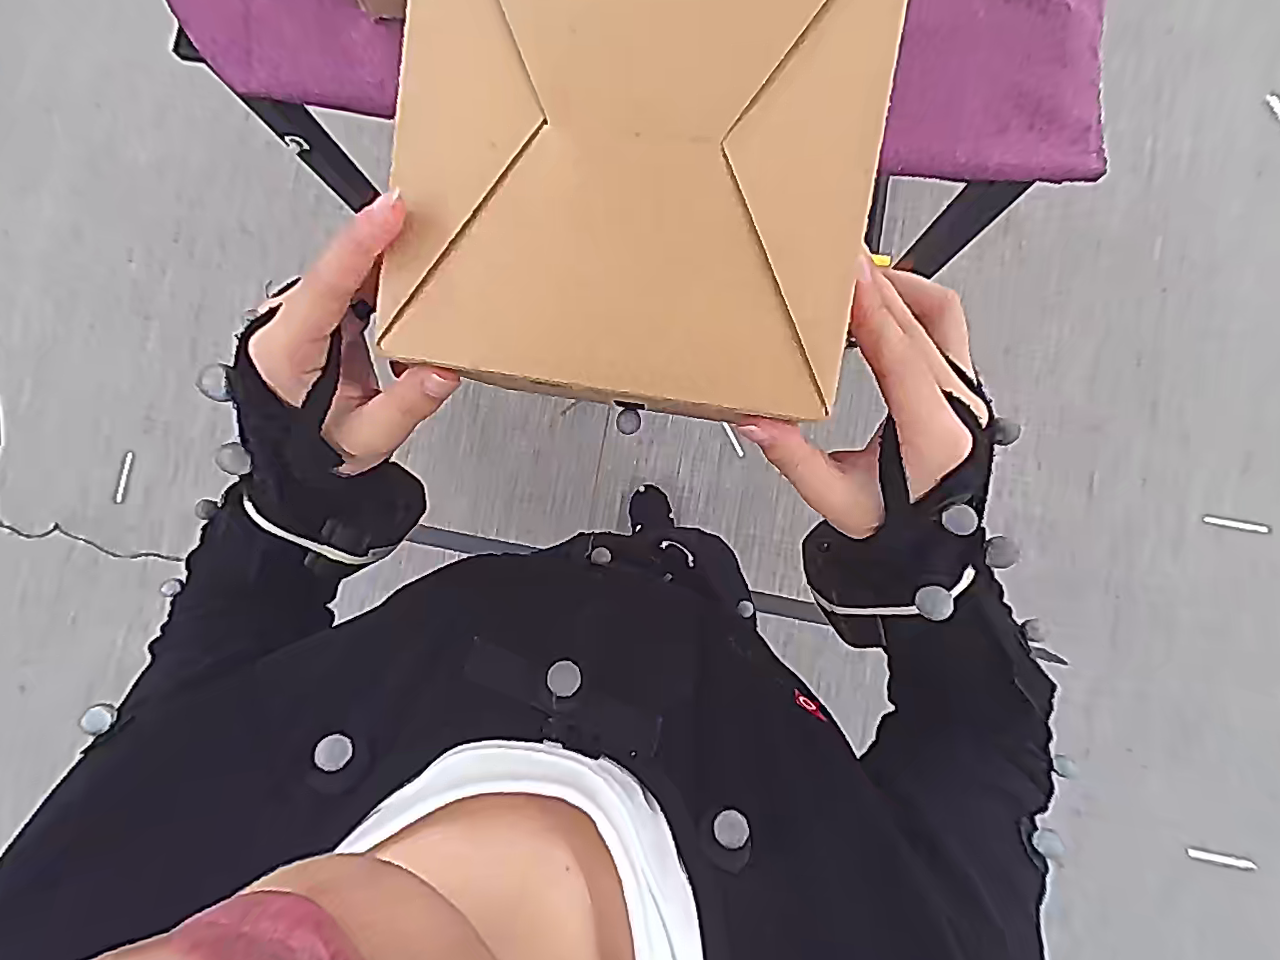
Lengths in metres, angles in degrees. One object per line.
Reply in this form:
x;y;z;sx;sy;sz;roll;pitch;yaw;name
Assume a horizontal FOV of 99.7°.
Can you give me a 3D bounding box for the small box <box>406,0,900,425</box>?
0.005;-0.127;0.267;0.168;0.176;0.179;9;96;3;small box
